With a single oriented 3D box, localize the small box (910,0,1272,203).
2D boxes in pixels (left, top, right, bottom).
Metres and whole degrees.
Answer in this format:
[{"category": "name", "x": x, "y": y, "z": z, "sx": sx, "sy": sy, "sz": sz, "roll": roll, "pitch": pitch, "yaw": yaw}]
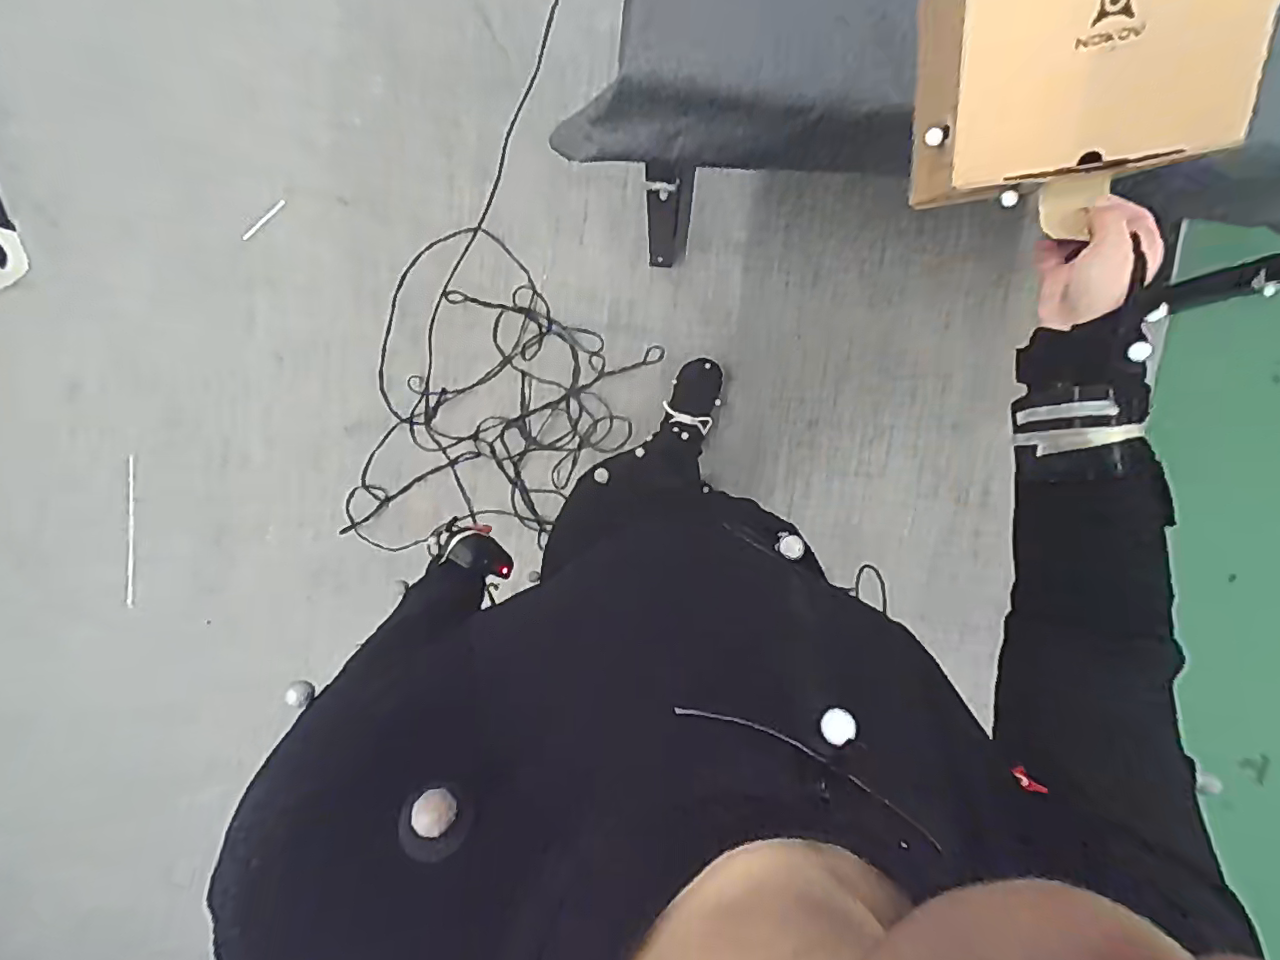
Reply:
[{"category": "small box", "x": 0.315, "y": -0.327, "z": 0.412, "sx": 0.168, "sy": 0.176, "sz": 0.179, "roll": -3, "pitch": 112, "yaw": 15}]
